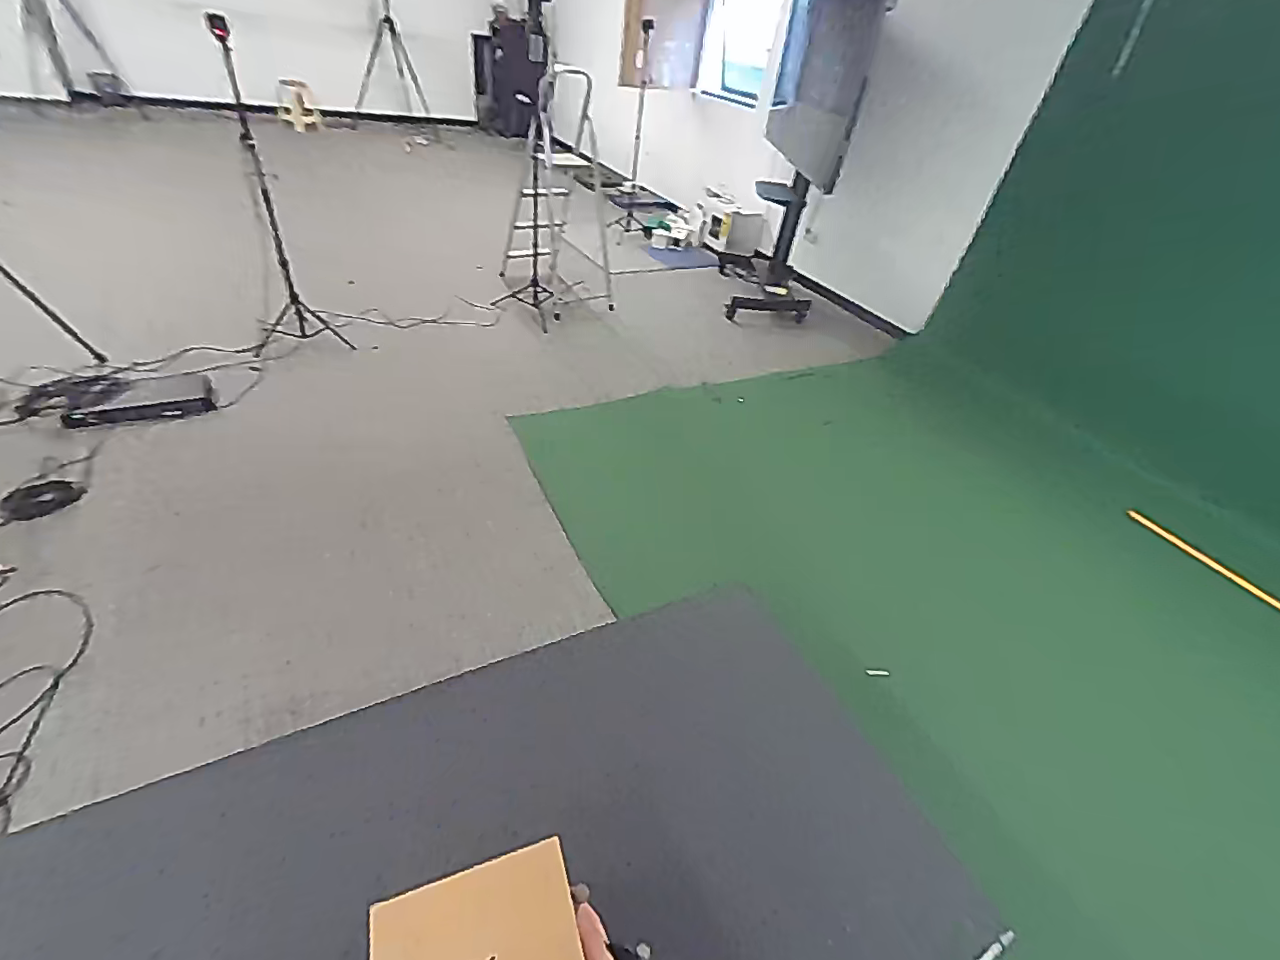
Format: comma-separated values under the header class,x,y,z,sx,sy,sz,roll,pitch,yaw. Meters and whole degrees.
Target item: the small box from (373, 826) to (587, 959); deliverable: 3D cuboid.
class,x,y,z,sx,sy,sz,roll,pitch,yaw
small box,-0.134,0.453,0.486,0.168,0.176,0.179,-10,47,-17
